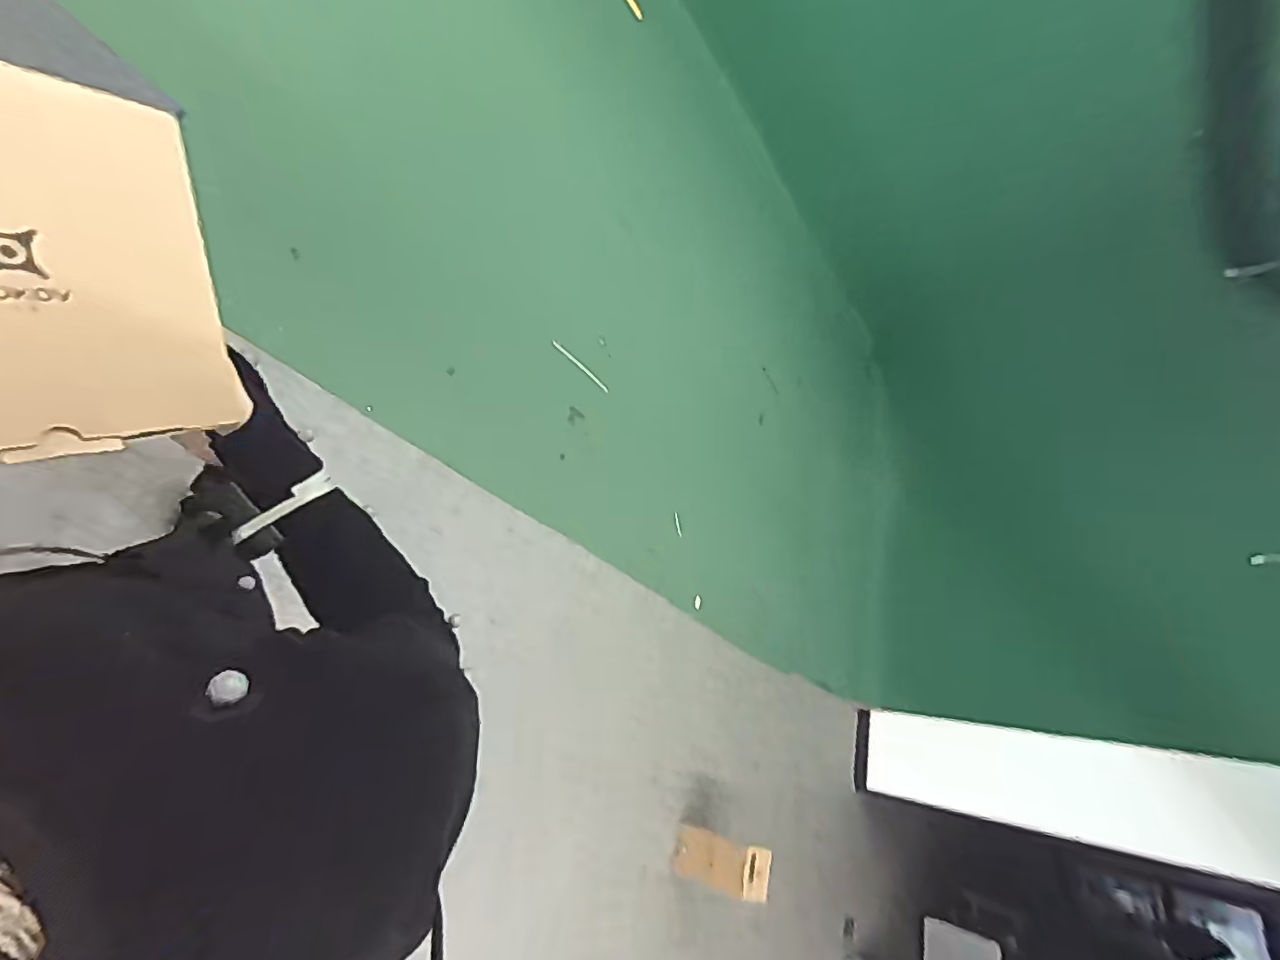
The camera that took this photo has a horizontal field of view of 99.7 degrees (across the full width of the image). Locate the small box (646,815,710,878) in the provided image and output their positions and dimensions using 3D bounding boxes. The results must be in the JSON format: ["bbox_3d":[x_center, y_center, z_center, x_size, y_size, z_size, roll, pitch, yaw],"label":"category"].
[{"bbox_3d":[0.152,1.476,2.181,0.179,0.176,0.168,40,54,-37],"label":"small box"}]
